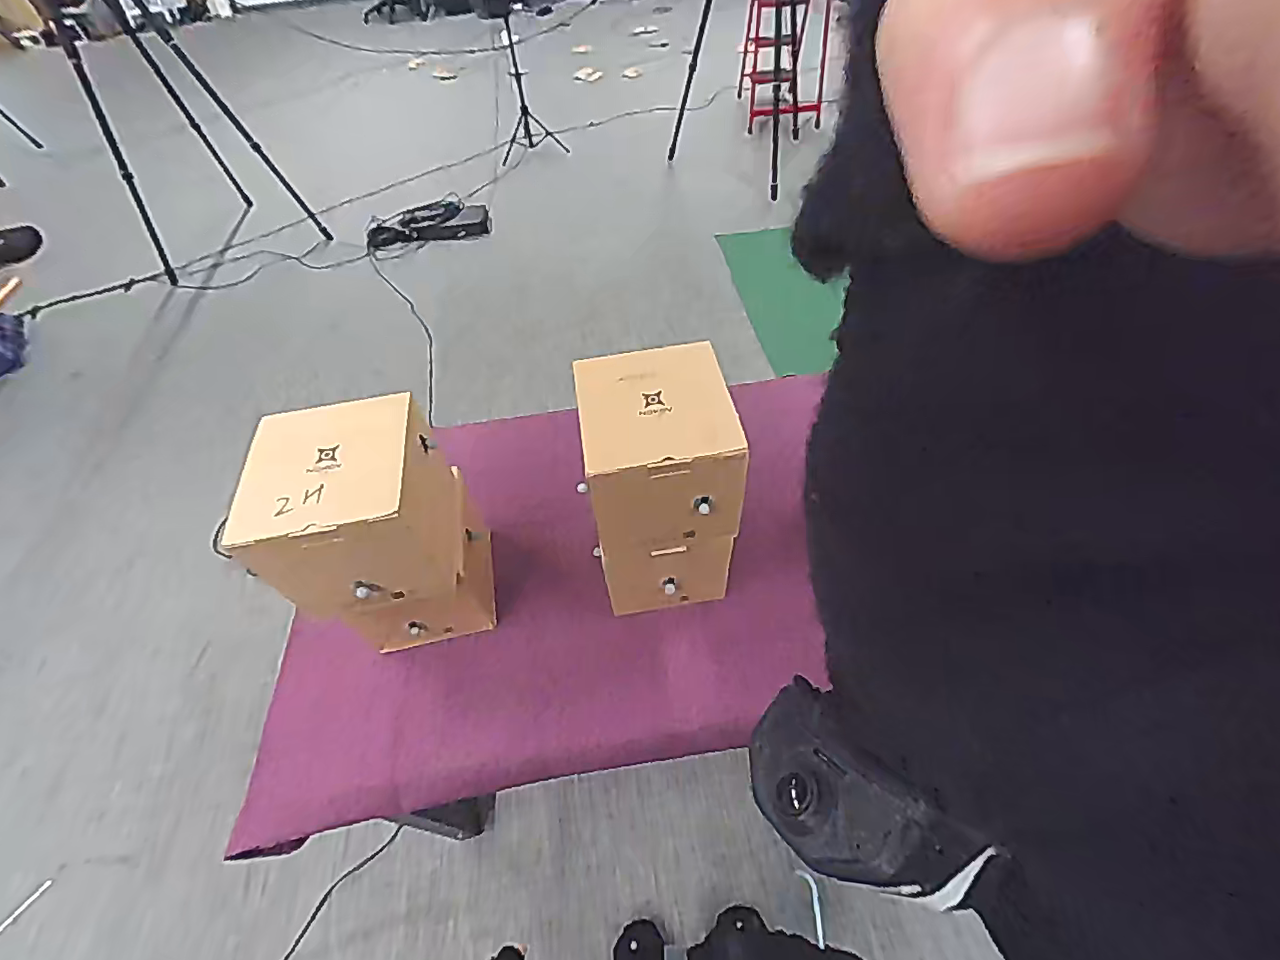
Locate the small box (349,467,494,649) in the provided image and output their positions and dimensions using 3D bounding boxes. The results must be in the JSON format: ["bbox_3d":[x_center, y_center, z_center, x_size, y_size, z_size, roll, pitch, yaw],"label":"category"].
[{"bbox_3d":[-0.310,0.111,0.761,0.168,0.176,0.179,-12,53,-6],"label":"small box"}]

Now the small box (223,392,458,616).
[{"bbox_3d":[-0.316,0.030,0.616,0.168,0.176,0.179,-11,53,-4],"label":"small box"}]

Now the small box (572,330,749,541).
[{"bbox_3d":[0.021,-0.043,0.628,0.168,0.176,0.179,-9,52,-3],"label":"small box"}]

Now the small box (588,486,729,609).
[{"bbox_3d":[0.024,0.068,0.772,0.168,0.176,0.179,-12,52,-3],"label":"small box"}]
